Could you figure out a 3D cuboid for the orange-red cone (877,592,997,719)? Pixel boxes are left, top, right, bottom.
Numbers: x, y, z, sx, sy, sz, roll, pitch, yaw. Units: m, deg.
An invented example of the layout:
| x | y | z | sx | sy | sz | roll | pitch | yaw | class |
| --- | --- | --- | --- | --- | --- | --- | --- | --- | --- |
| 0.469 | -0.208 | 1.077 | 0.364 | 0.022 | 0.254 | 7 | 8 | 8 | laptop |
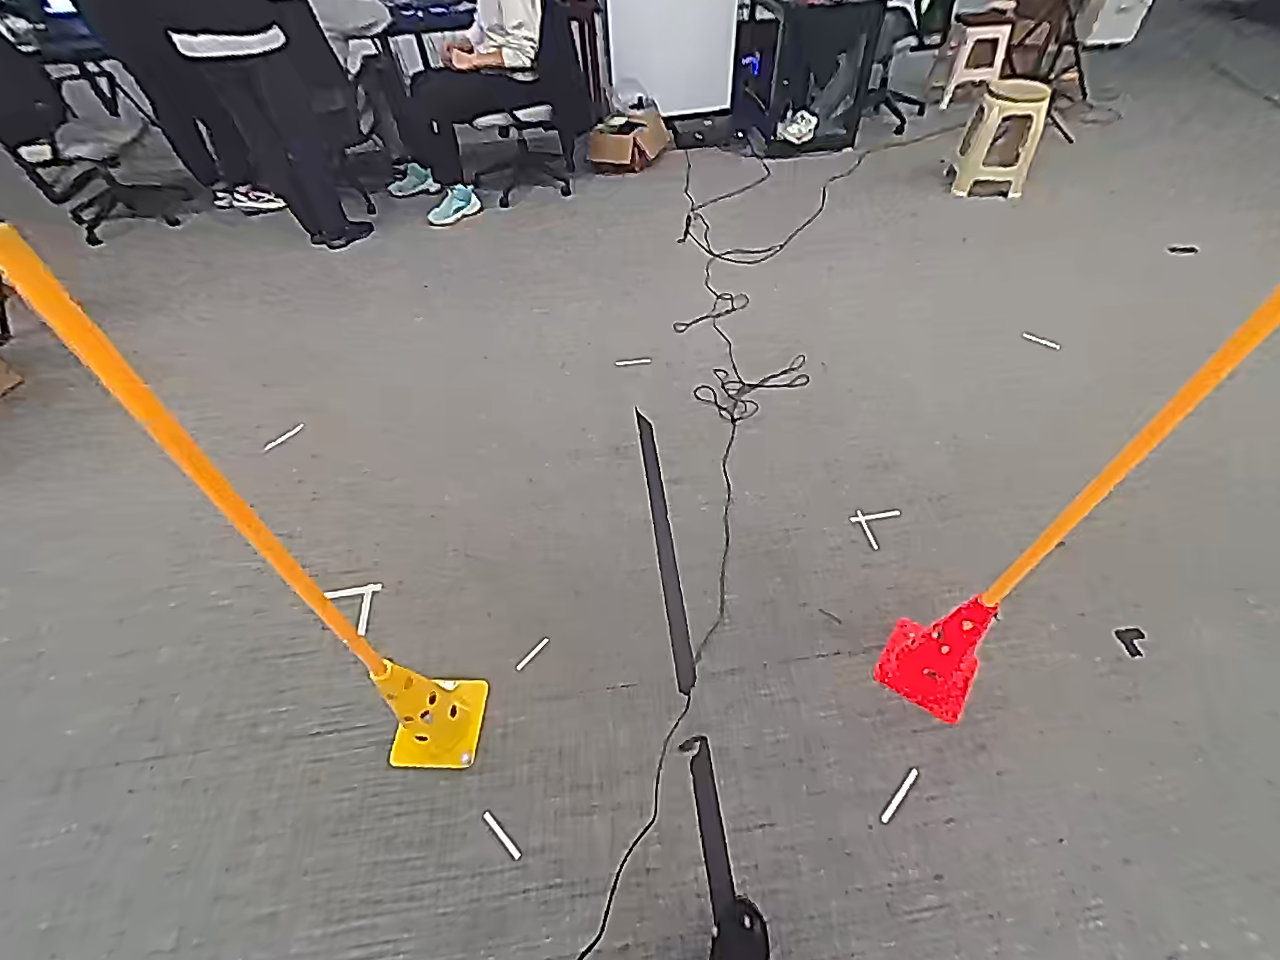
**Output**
| x | y | z | sx | sy | sz | roll | pitch | yaw | class |
| --- | --- | --- | --- | --- | --- | --- | --- | --- | --- |
| 0.694 | 0.349 | 1.193 | 0.198 | 0.360 | 0.199 | 29 | 59 | 26 | orange-red cone |
